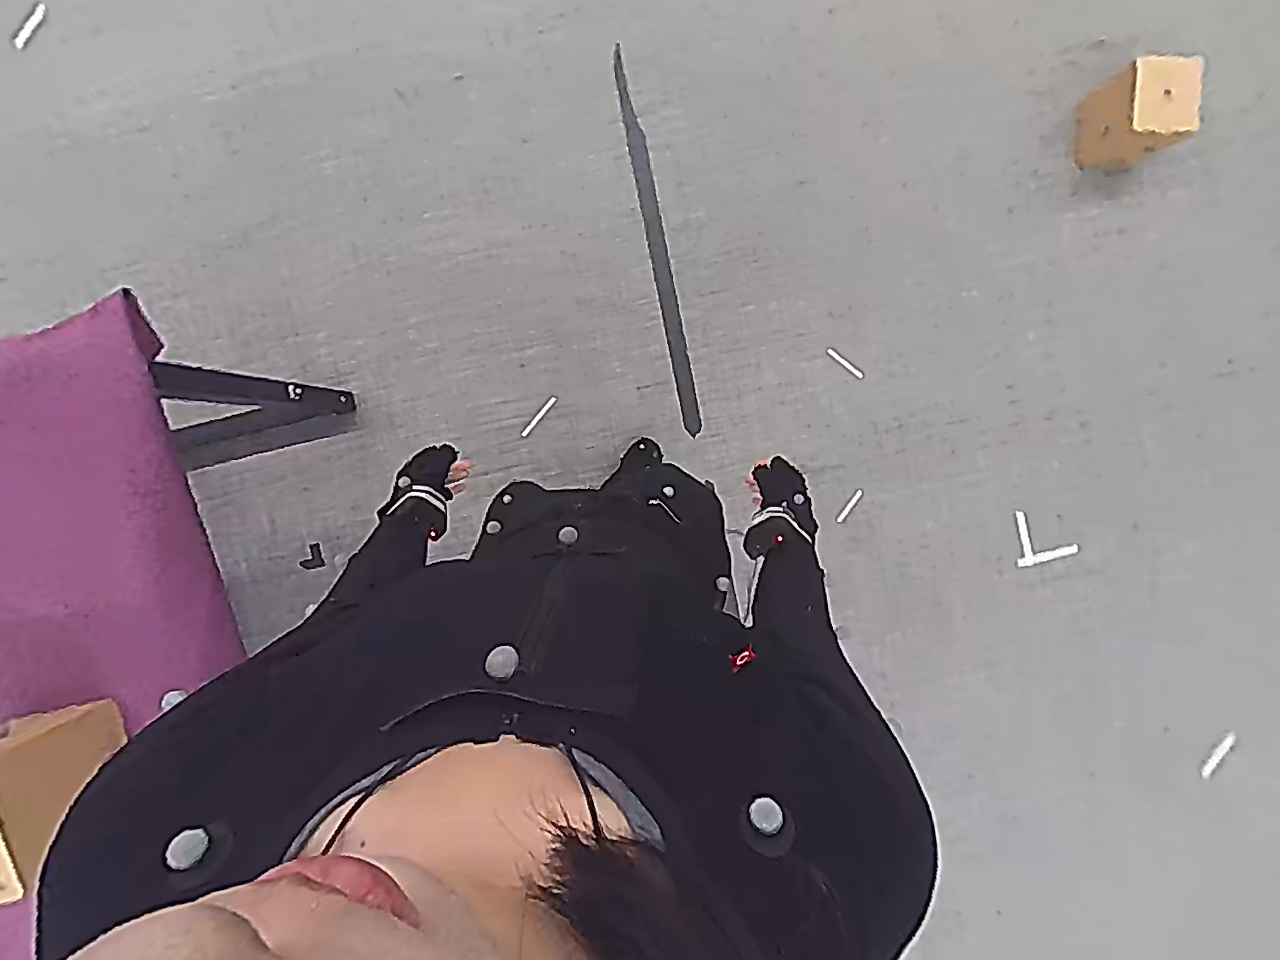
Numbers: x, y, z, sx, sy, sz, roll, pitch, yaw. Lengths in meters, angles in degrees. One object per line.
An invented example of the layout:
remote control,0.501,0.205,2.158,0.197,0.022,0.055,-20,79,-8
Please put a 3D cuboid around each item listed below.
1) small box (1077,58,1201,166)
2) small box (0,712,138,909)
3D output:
small box,1.260,-0.927,1.378,0.168,0.176,0.179,0,93,-2
small box,-0.828,0.429,0.710,0.168,0.176,0.179,-13,93,1
